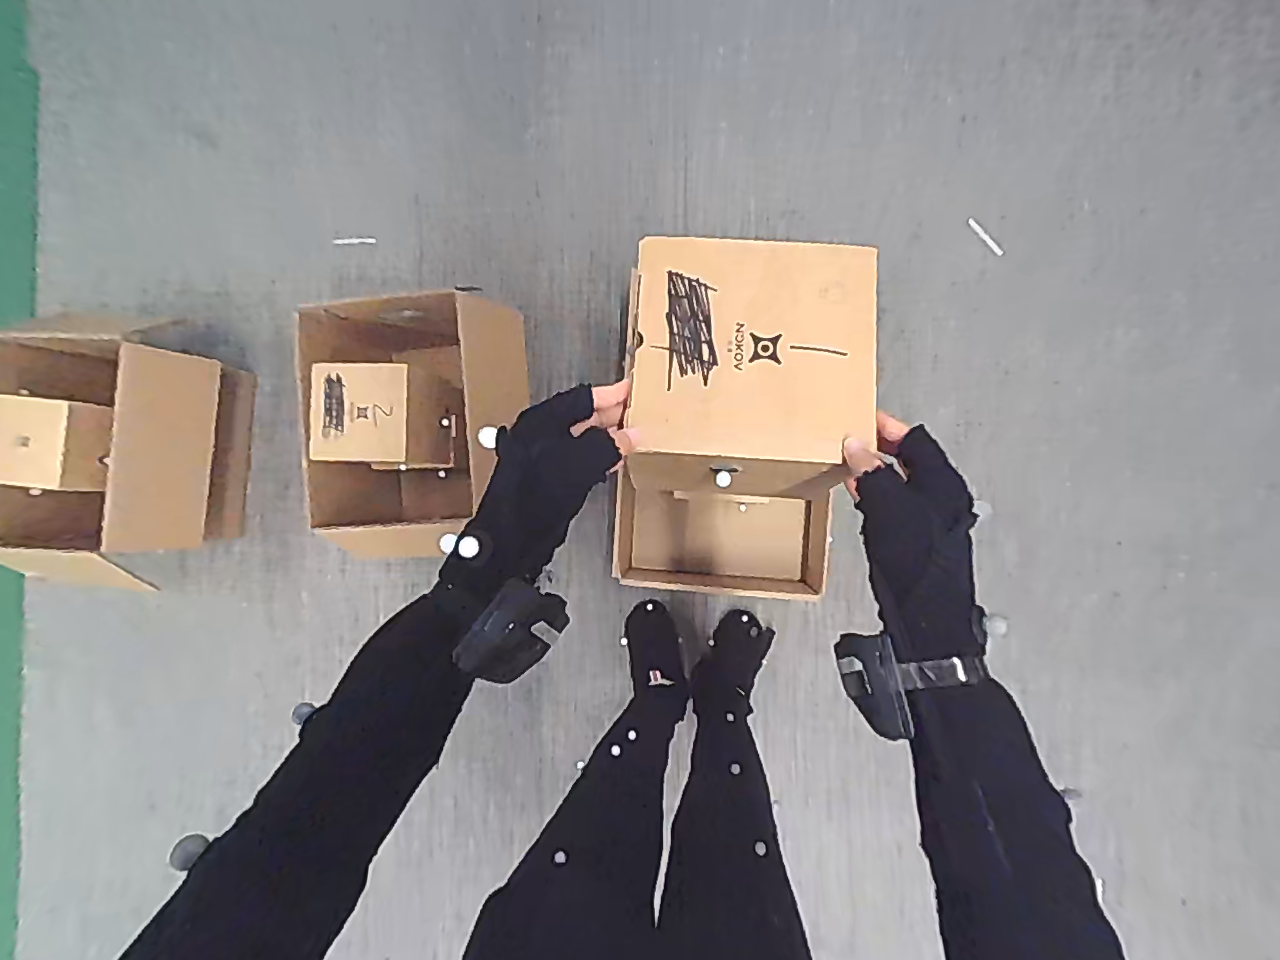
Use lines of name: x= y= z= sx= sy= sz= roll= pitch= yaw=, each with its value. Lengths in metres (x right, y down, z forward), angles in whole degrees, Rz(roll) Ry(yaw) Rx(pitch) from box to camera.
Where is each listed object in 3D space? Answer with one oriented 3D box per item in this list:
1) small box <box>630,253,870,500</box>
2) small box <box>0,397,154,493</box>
small box: x=0.087 y=-0.078 z=0.485 sx=0.179 sy=0.176 sz=0.168 roll=4 pitch=80 yaw=2
small box: x=-1.119 y=-0.064 z=1.066 sx=0.179 sy=0.176 sz=0.168 roll=6 pitch=88 yaw=5
